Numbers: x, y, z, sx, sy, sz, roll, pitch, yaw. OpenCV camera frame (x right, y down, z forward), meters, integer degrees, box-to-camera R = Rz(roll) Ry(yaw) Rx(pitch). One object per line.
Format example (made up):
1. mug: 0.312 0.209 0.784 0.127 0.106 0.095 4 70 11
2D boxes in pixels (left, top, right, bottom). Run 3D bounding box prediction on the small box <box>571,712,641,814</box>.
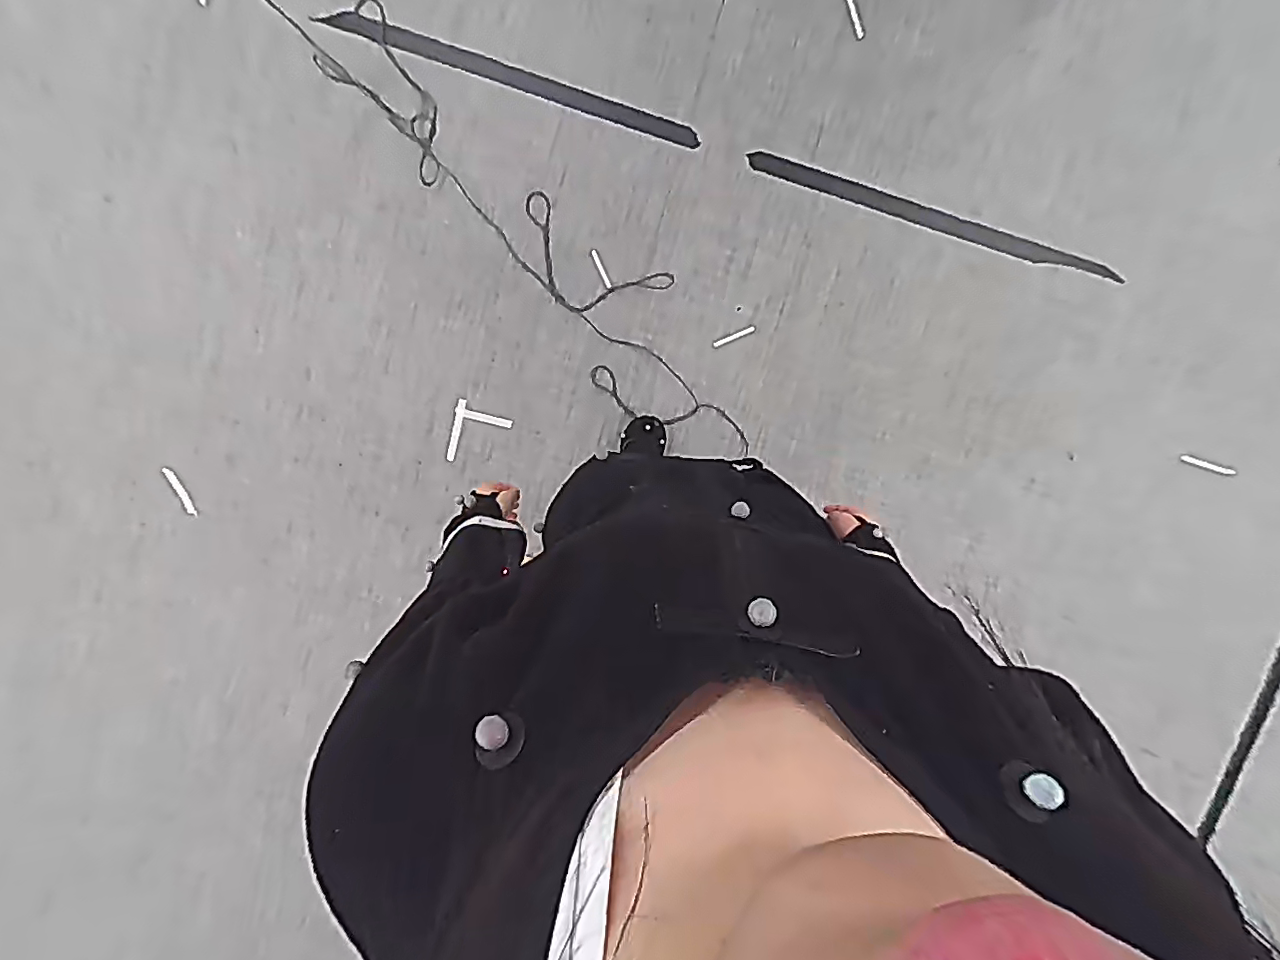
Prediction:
1. small box: -0.089 0.768 1.480 0.168 0.176 0.179 7 96 -2
